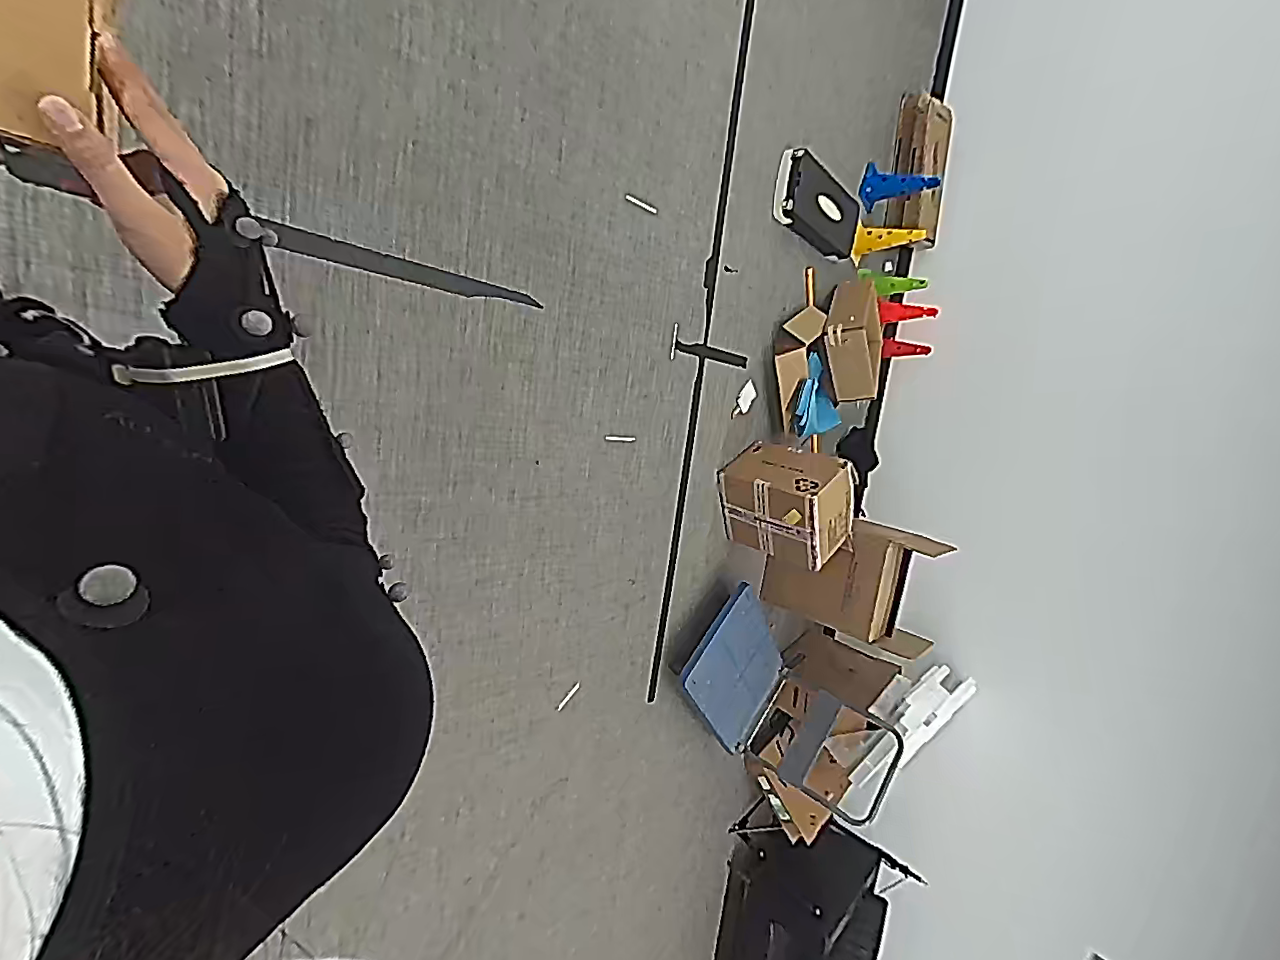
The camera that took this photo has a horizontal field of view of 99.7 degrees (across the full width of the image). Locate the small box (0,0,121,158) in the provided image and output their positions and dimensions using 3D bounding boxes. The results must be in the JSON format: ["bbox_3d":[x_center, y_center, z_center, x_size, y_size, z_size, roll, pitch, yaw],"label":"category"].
[{"bbox_3d":[-0.377,-0.278,0.263,0.179,0.176,0.168,2,109,-44],"label":"small box"}]
